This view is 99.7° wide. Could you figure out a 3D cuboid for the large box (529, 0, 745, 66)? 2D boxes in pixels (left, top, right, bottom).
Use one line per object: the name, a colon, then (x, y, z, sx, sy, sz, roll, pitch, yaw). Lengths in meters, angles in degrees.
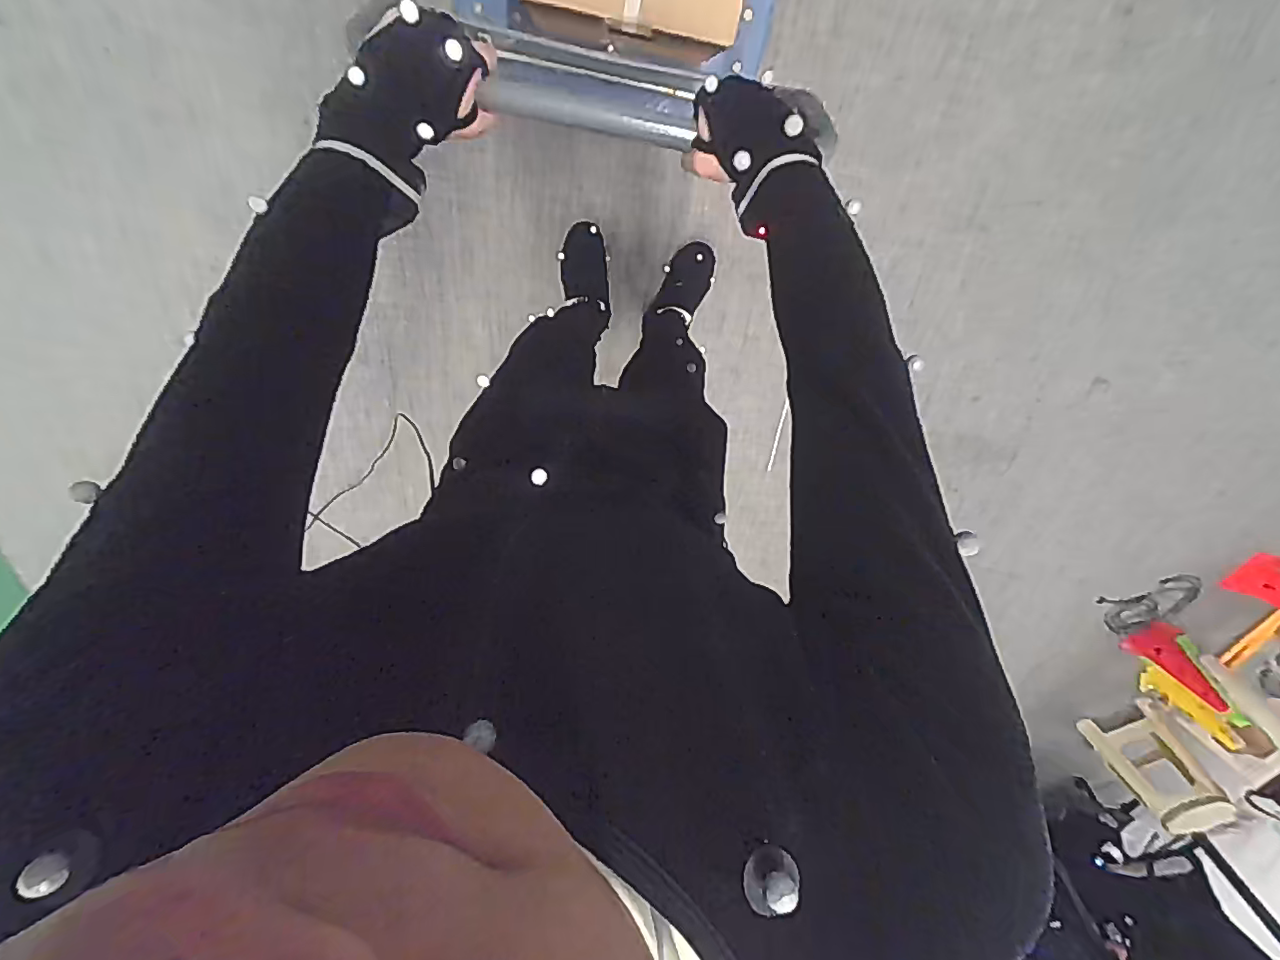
large box: (0.012, -0.895, 0.792, 0.320, 0.320, 0.408, 6, 122, -9)
